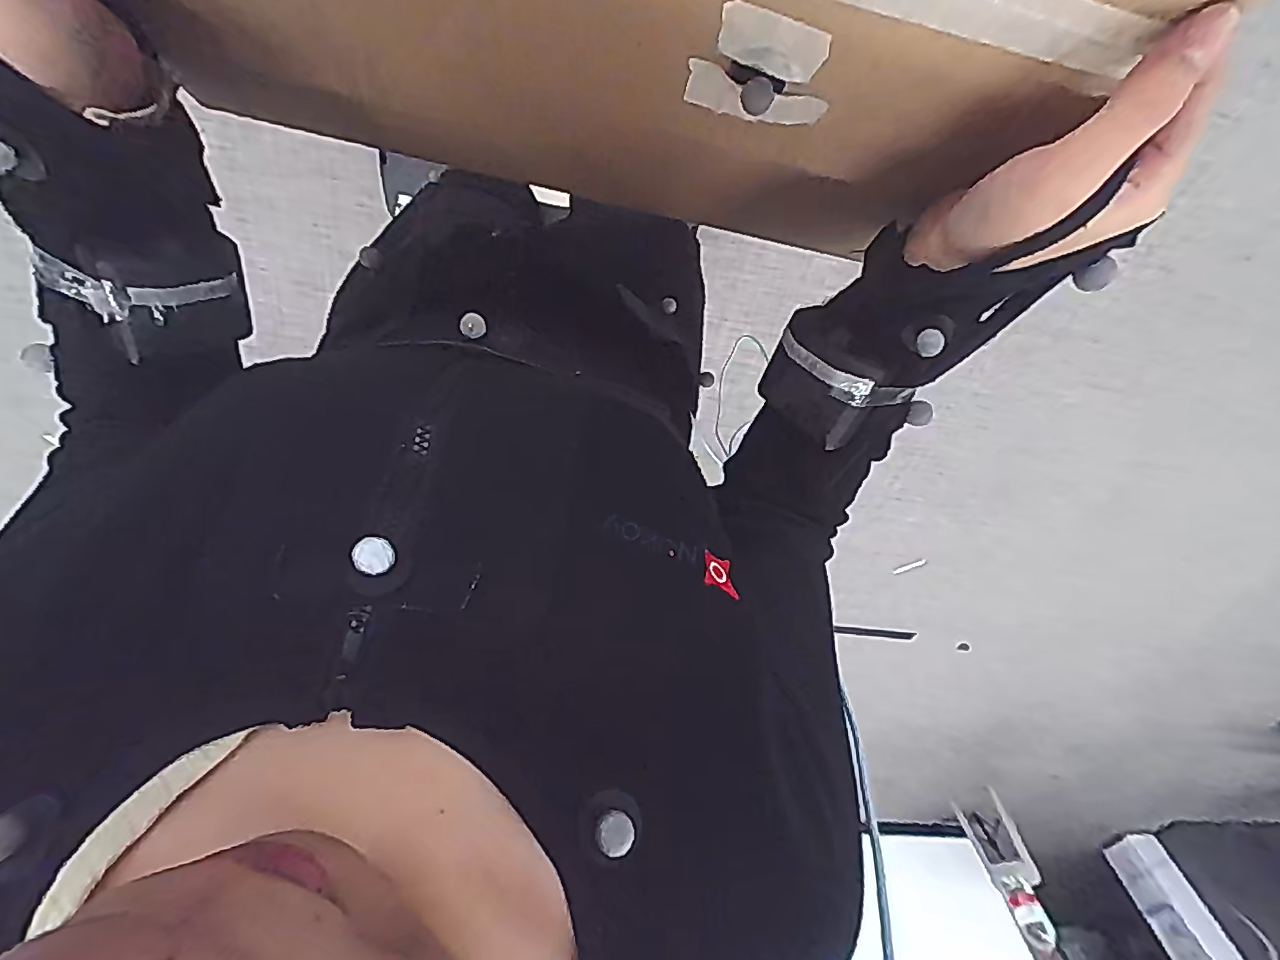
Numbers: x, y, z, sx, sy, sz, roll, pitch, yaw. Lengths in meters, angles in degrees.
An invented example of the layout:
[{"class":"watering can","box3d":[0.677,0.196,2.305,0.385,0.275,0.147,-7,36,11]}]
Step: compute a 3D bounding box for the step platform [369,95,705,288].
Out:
[{"class":"step platform","box3d":[-0.208,-0.659,1.170,0.684,0.204,0.286,14,125,-12]}]
